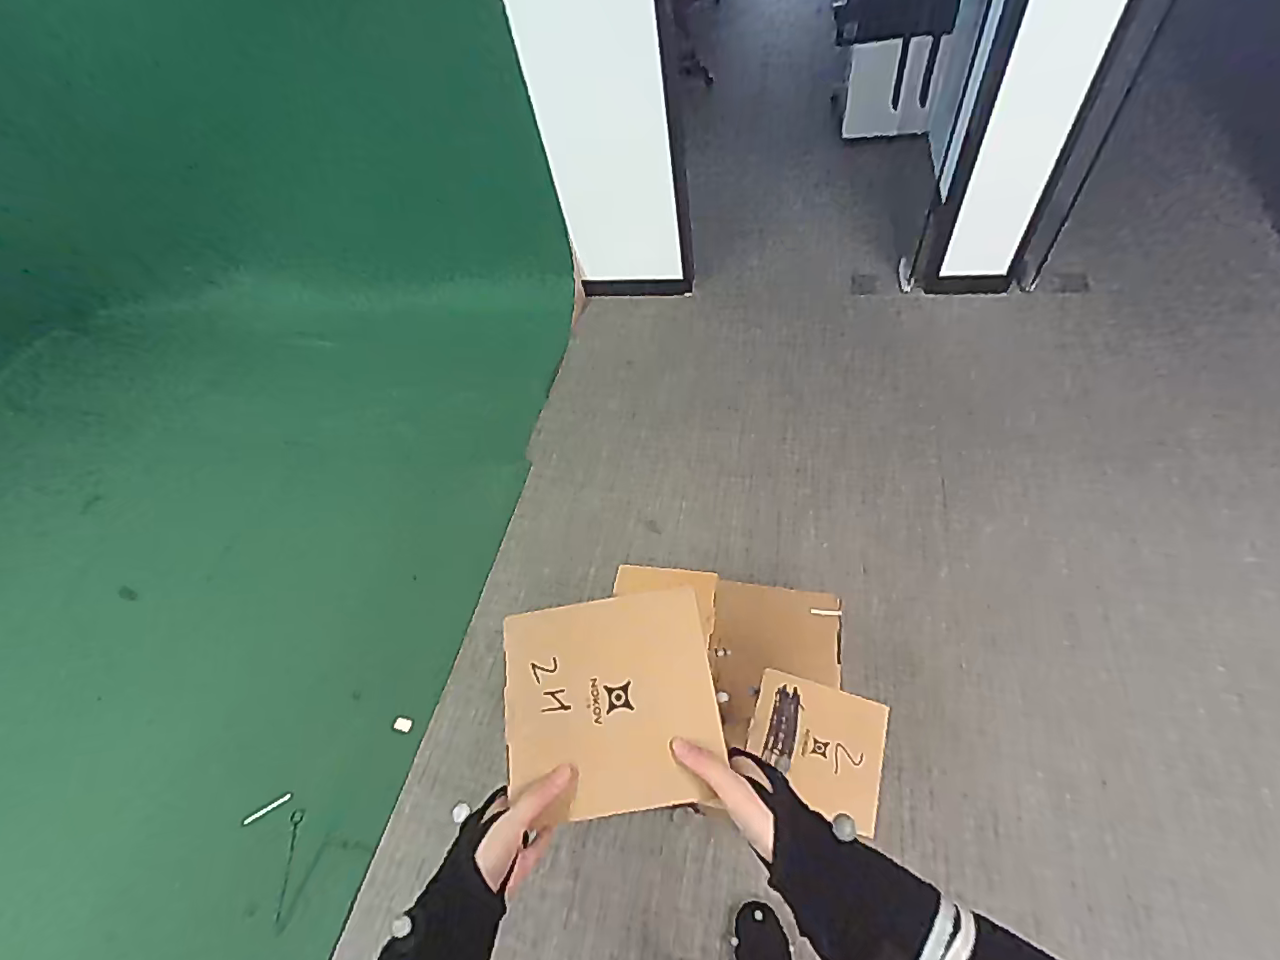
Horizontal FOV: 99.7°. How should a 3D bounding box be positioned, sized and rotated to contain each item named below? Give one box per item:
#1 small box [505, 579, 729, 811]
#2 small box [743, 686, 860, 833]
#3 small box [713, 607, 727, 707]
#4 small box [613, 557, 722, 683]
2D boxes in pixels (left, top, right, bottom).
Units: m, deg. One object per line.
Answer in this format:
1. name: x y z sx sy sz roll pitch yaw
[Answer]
1. small box: -0.020 0.207 0.523 0.179 0.176 0.168 -10 62 2
2. small box: 0.273 0.484 0.933 0.168 0.176 0.179 8 56 16
3. small box: 0.078 0.351 1.071 0.179 0.176 0.168 2 54 14
4. small box: 0.046 0.252 0.945 0.179 0.176 0.168 4 54 13
